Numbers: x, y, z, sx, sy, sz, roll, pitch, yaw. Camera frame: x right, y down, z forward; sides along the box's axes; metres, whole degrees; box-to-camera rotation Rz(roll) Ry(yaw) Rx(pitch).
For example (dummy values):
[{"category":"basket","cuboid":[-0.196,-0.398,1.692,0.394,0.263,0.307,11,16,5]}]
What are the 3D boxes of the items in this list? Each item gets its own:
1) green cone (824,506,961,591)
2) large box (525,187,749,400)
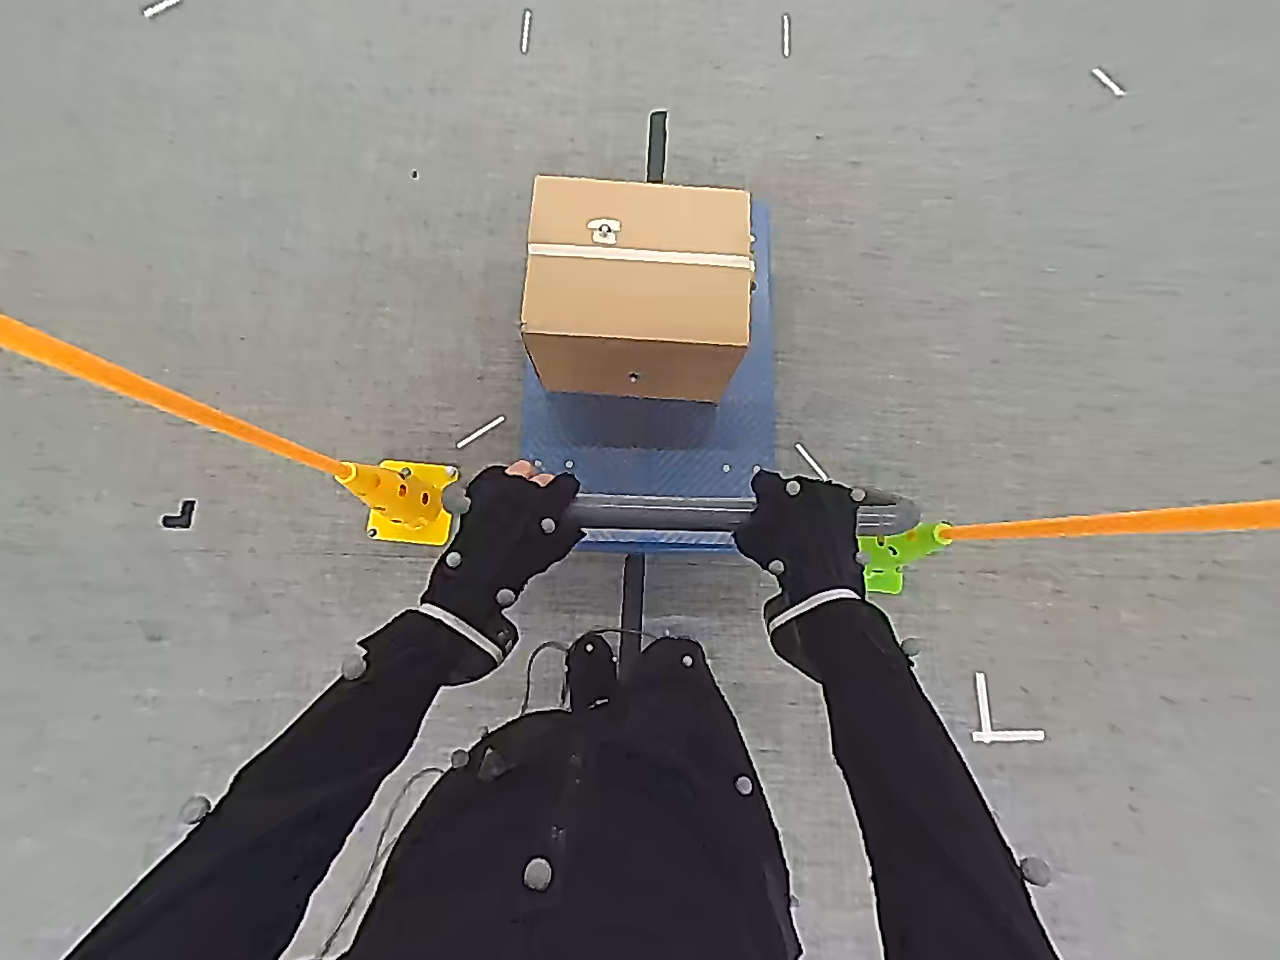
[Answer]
[{"category":"green cone","cuboid":[0.572,0.138,1.195,0.202,0.368,0.200,7,79,-2]},{"category":"large box","cuboid":[-0.002,-0.364,1.131,0.408,0.320,0.320,4,80,-1]}]
